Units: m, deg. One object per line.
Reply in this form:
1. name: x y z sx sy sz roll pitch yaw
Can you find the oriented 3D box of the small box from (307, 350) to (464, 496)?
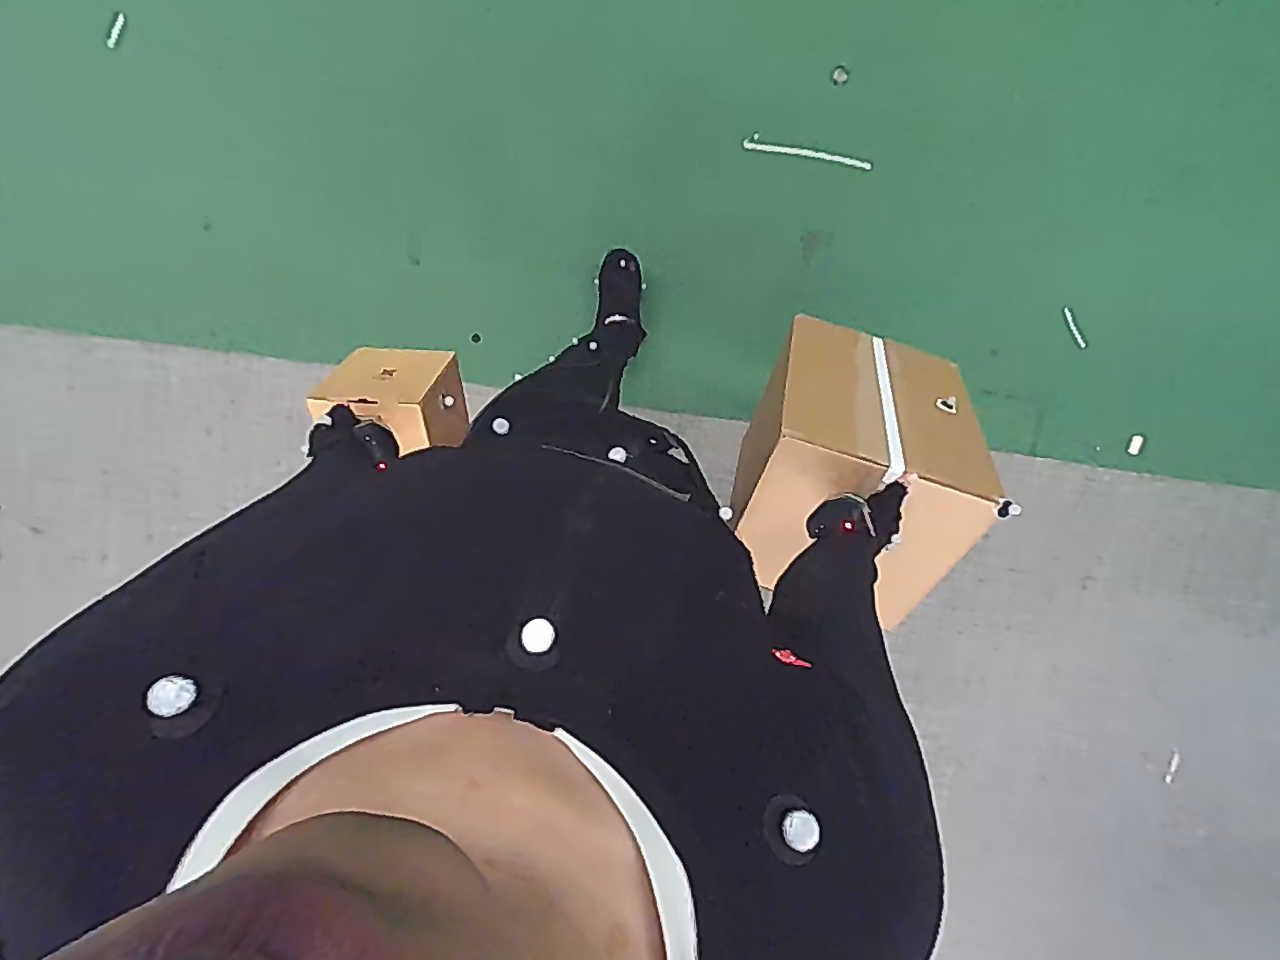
1. small box: -0.398 -0.096 0.886 0.168 0.179 0.176 2 128 0
